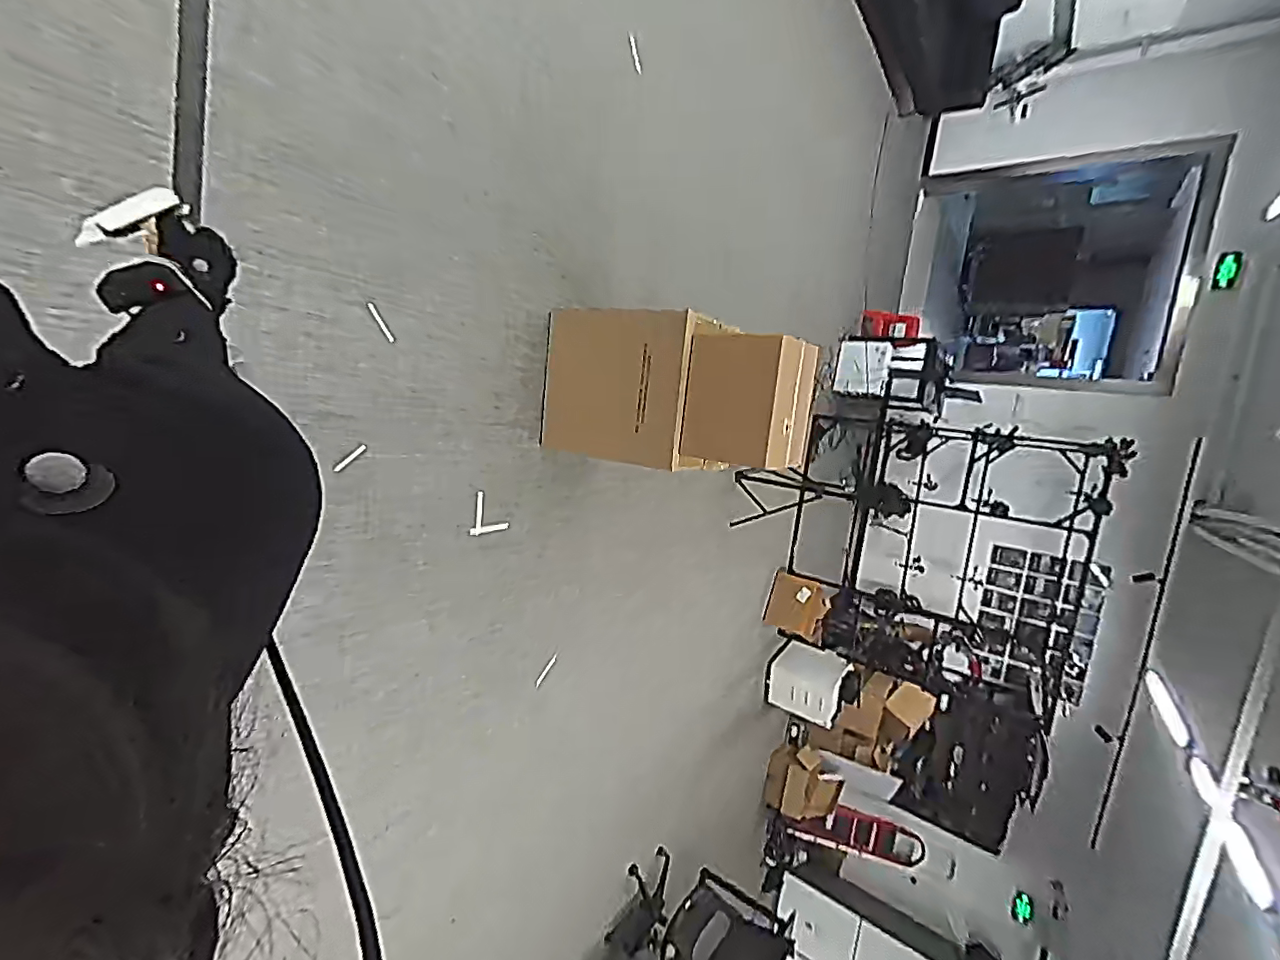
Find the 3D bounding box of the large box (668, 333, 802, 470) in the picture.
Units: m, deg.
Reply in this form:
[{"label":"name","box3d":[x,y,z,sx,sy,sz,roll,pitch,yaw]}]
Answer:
[{"label":"large box","box3d":[0.316,-0.264,1.807,0.320,0.320,0.408,-6,106,-54]}]
